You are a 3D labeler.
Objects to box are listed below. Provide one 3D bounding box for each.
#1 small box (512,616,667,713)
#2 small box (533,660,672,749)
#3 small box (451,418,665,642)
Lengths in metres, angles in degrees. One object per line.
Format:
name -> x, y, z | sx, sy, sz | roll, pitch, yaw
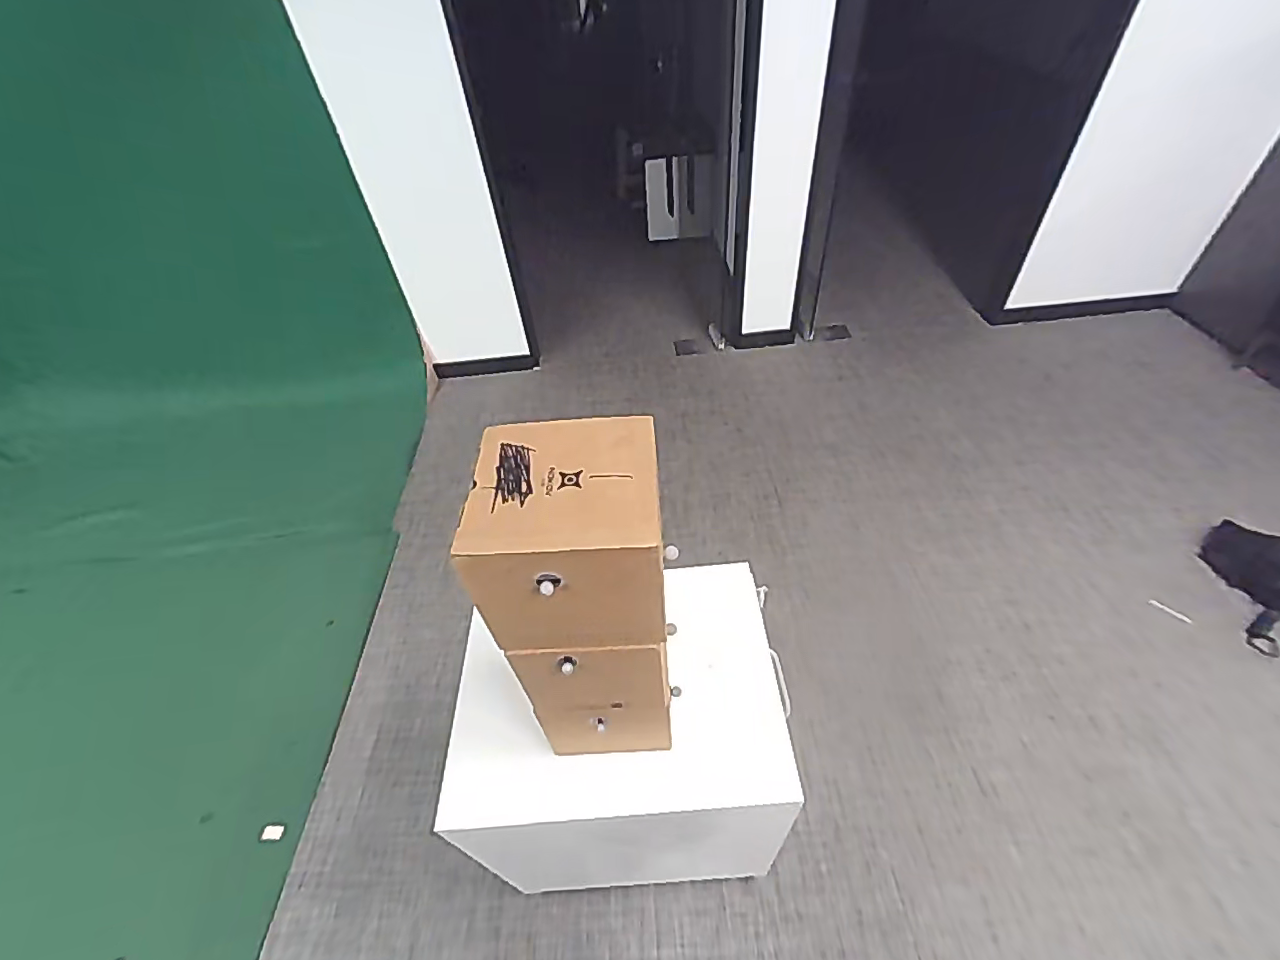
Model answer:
small box -> -0.054, 0.171, 0.683 | 0.168, 0.176, 0.179 | -5, 46, 0
small box -> -0.047, 0.284, 0.797 | 0.179, 0.176, 0.168 | -3, 46, 1
small box -> -0.068, 0.056, 0.562 | 0.179, 0.176, 0.168 | -3, 46, 3
